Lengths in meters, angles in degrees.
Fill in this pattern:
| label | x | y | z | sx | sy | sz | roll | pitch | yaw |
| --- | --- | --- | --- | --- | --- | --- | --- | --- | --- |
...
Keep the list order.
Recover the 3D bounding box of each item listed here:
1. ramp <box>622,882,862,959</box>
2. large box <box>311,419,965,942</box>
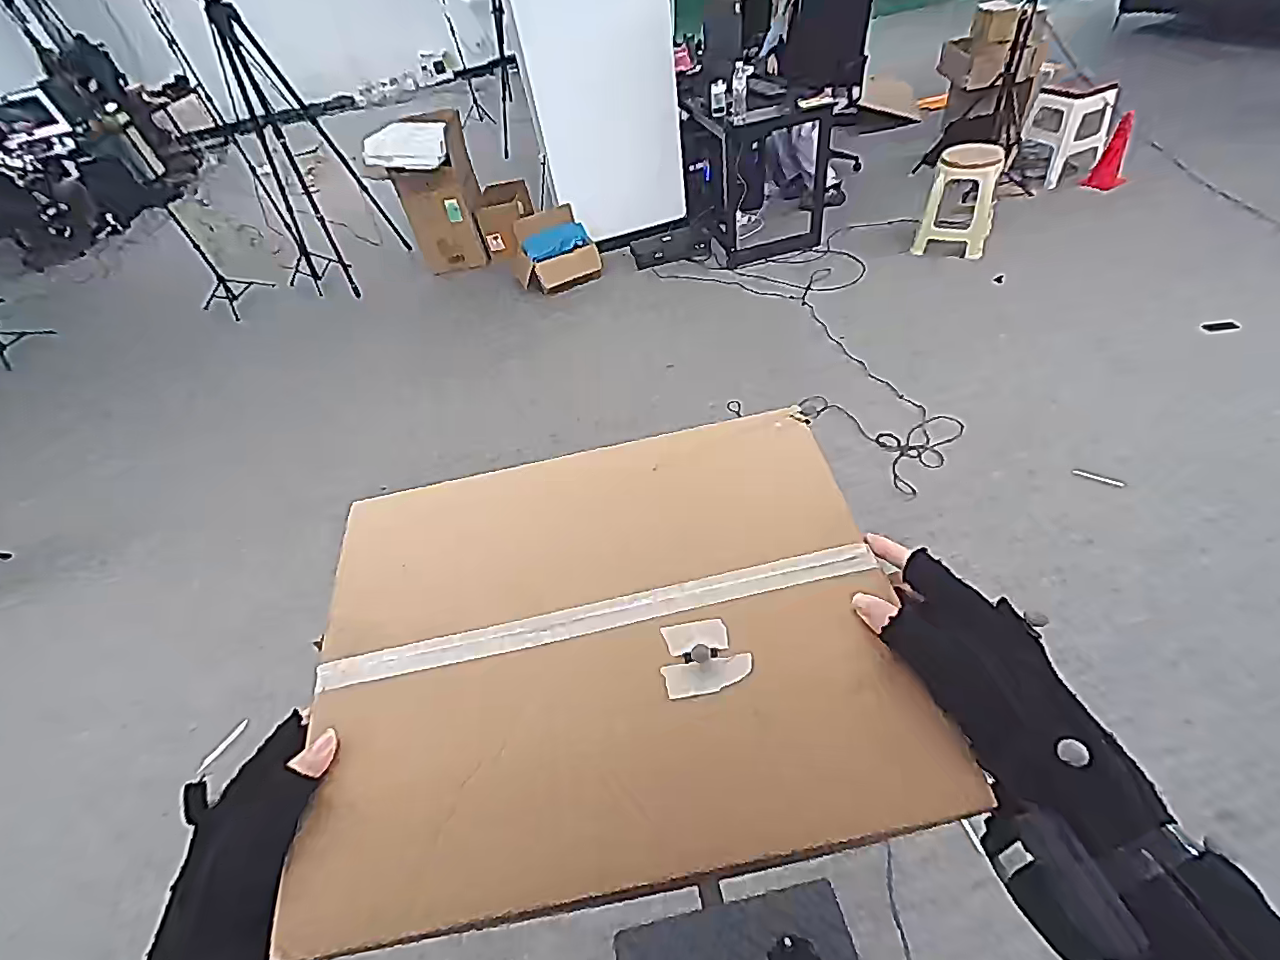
| label | x | y | z | sx | sy | sz | roll | pitch | yaw |
| --- | --- | --- | --- | --- | --- | --- | --- | --- | --- |
| ramp | 0.264 | 1.224 | 0.786 | 0.509 | 0.206 | 0.991 | -16 | 45 | -1 |
| large box | -0.009 | 0.193 | 0.522 | 0.408 | 0.320 | 0.320 | -12 | 53 | 0 |
